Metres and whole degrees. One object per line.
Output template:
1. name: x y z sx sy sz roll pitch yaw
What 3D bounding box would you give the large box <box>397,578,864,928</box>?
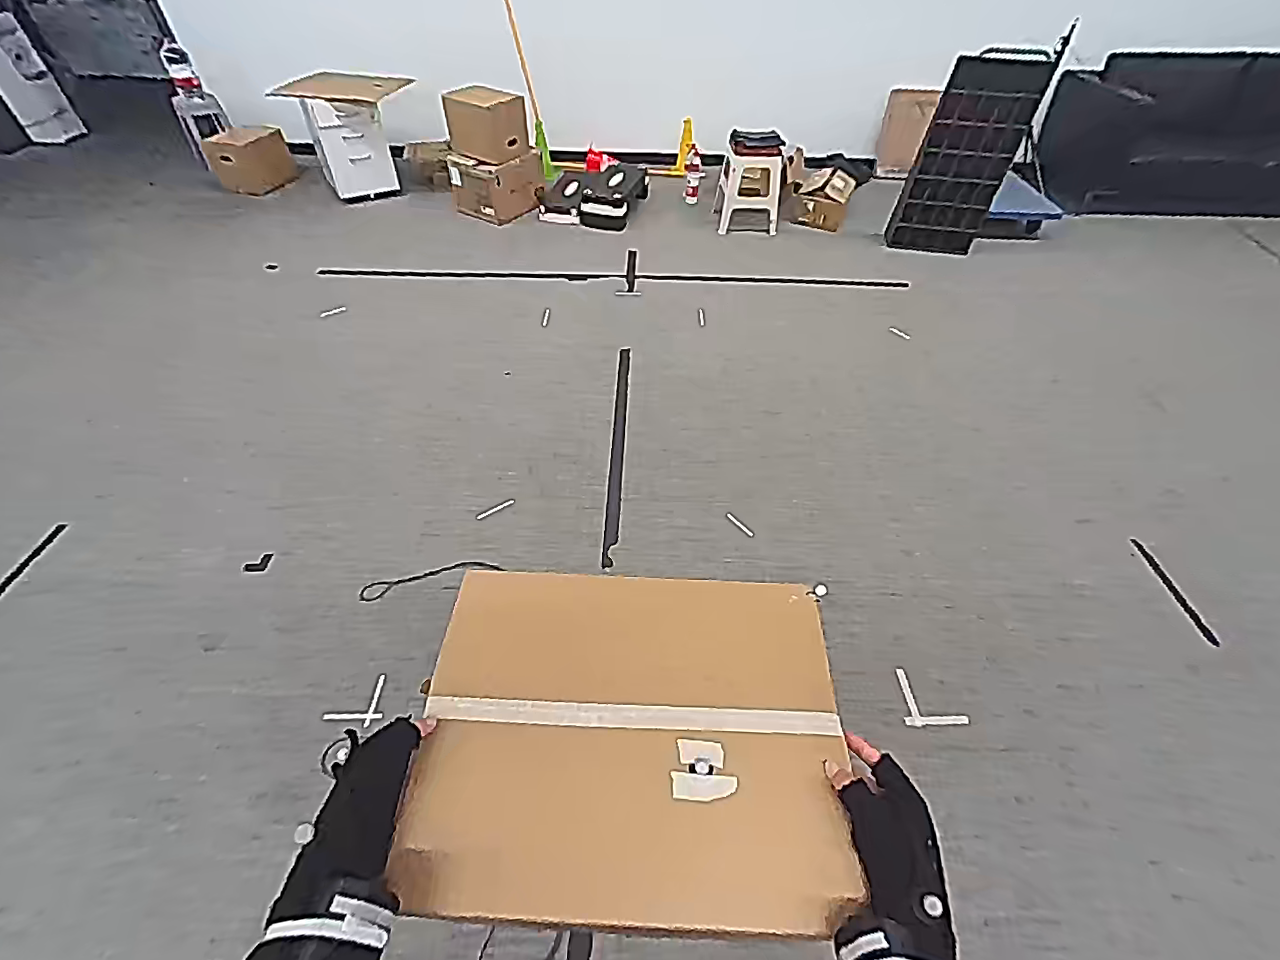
1. large box: -0.009 0.337 0.660 0.408 0.320 0.320 3 50 1
